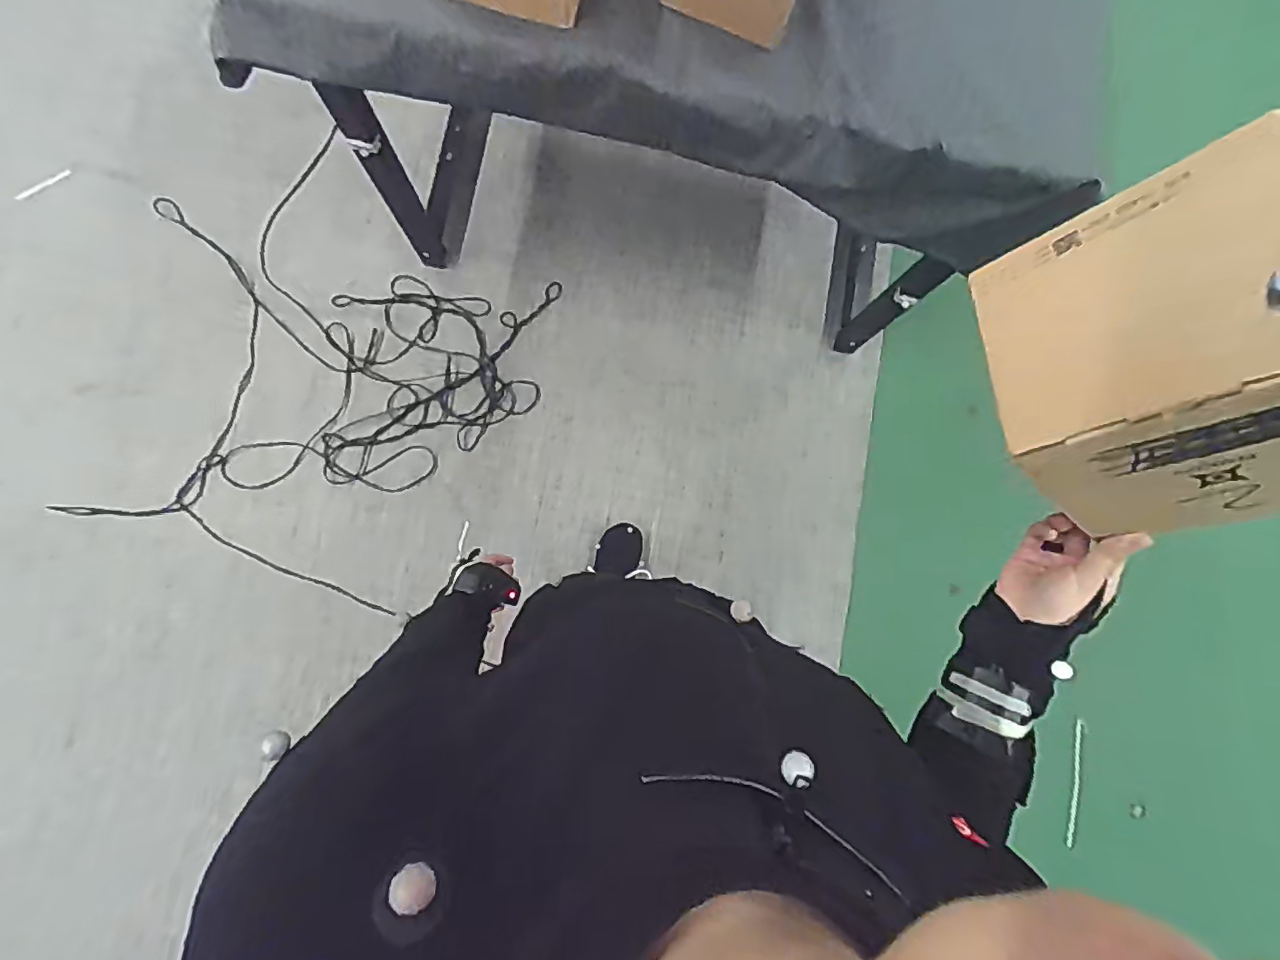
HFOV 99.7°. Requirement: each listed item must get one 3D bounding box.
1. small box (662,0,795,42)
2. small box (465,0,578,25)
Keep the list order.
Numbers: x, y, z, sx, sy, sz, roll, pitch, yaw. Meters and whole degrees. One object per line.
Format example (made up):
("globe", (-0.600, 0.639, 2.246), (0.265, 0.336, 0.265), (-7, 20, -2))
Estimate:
("small box", (0.140, -0.705, 0.676), (0.179, 0.176, 0.168), (21, 80, 0))
("small box", (-0.156, -0.708, 0.654), (0.179, 0.176, 0.168), (12, 80, -3))
